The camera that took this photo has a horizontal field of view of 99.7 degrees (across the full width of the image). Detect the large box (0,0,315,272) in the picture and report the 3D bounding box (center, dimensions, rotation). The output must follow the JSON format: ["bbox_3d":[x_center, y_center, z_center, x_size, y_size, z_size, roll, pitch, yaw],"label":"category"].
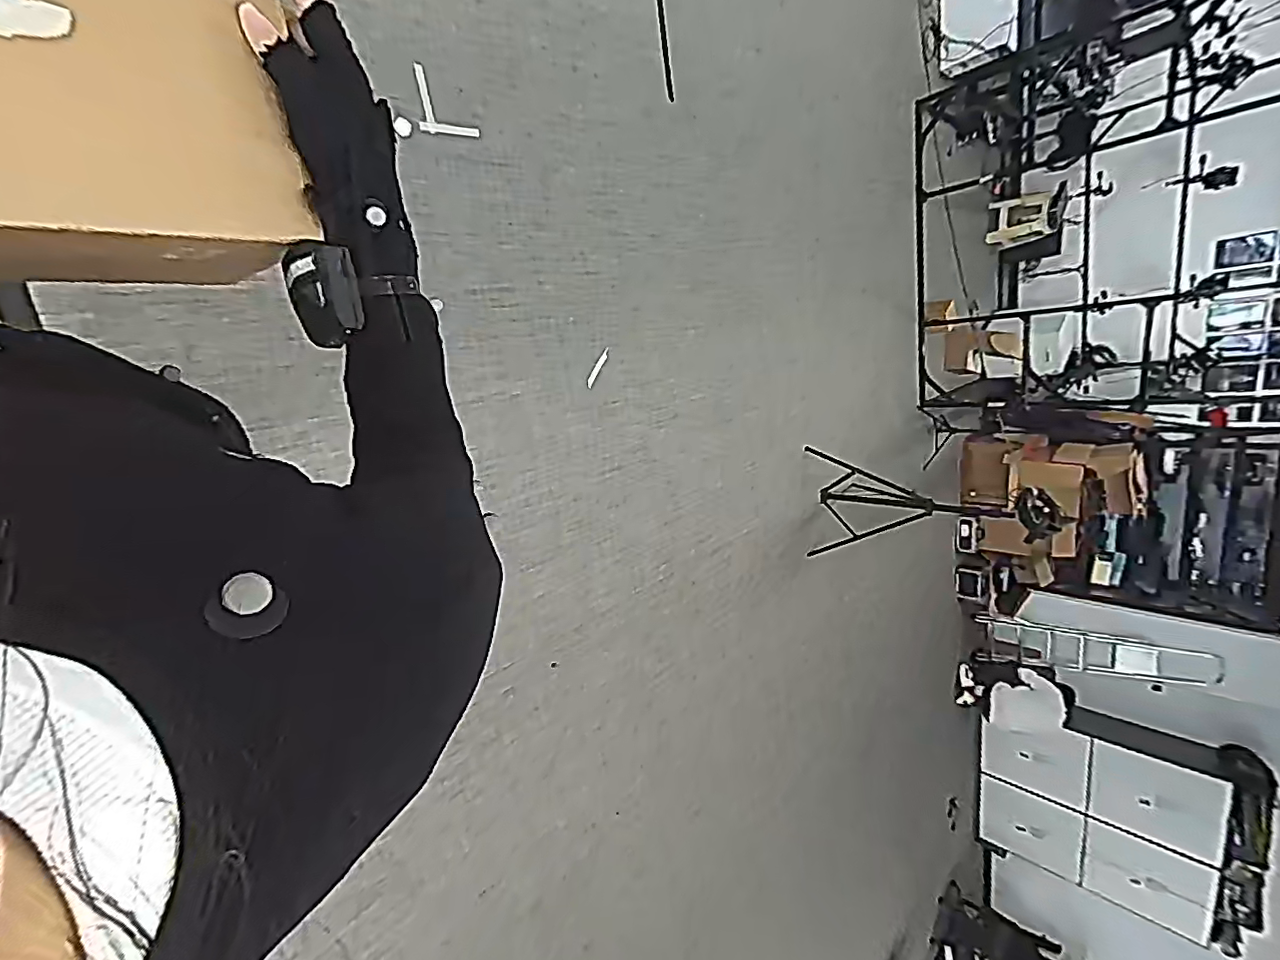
[{"bbox_3d":[-0.492,-0.302,0.319,0.408,0.320,0.320,-20,114,-44],"label":"large box"}]
